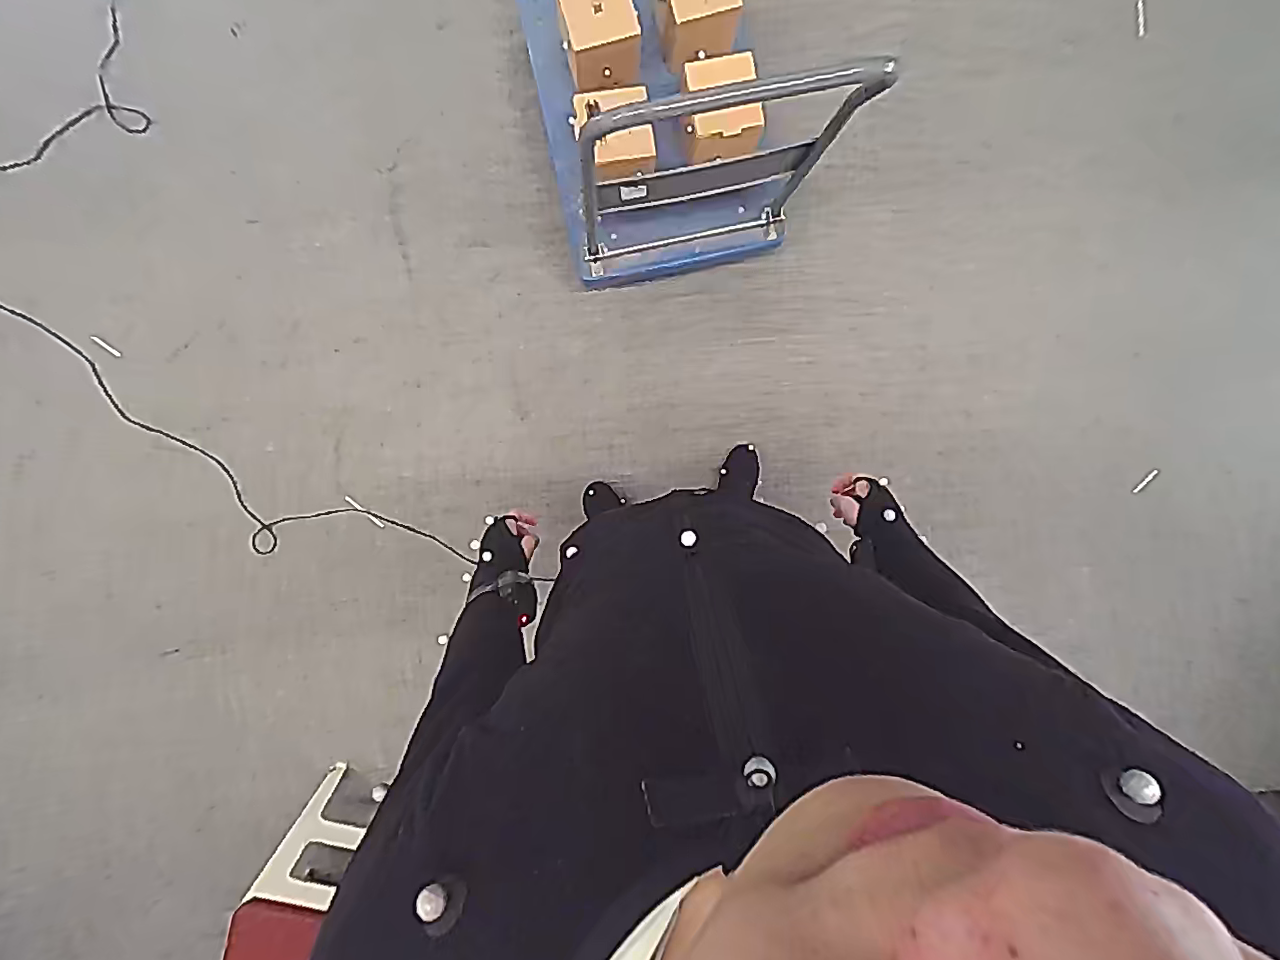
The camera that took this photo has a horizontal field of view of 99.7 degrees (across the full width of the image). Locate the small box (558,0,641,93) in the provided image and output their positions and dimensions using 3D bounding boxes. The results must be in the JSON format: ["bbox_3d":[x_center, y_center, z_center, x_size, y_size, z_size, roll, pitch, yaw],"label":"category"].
[{"bbox_3d":[-0.099,-1.114,1.355,0.168,0.176,0.179,-16,92,-2],"label":"small box"}]

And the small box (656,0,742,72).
[{"bbox_3d":[0.142,-1.186,1.360,0.168,0.176,0.179,-16,93,0],"label":"small box"}]

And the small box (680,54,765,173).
[{"bbox_3d":[0.202,-0.922,1.371,0.168,0.176,0.179,-12,93,-1],"label":"small box"}]
